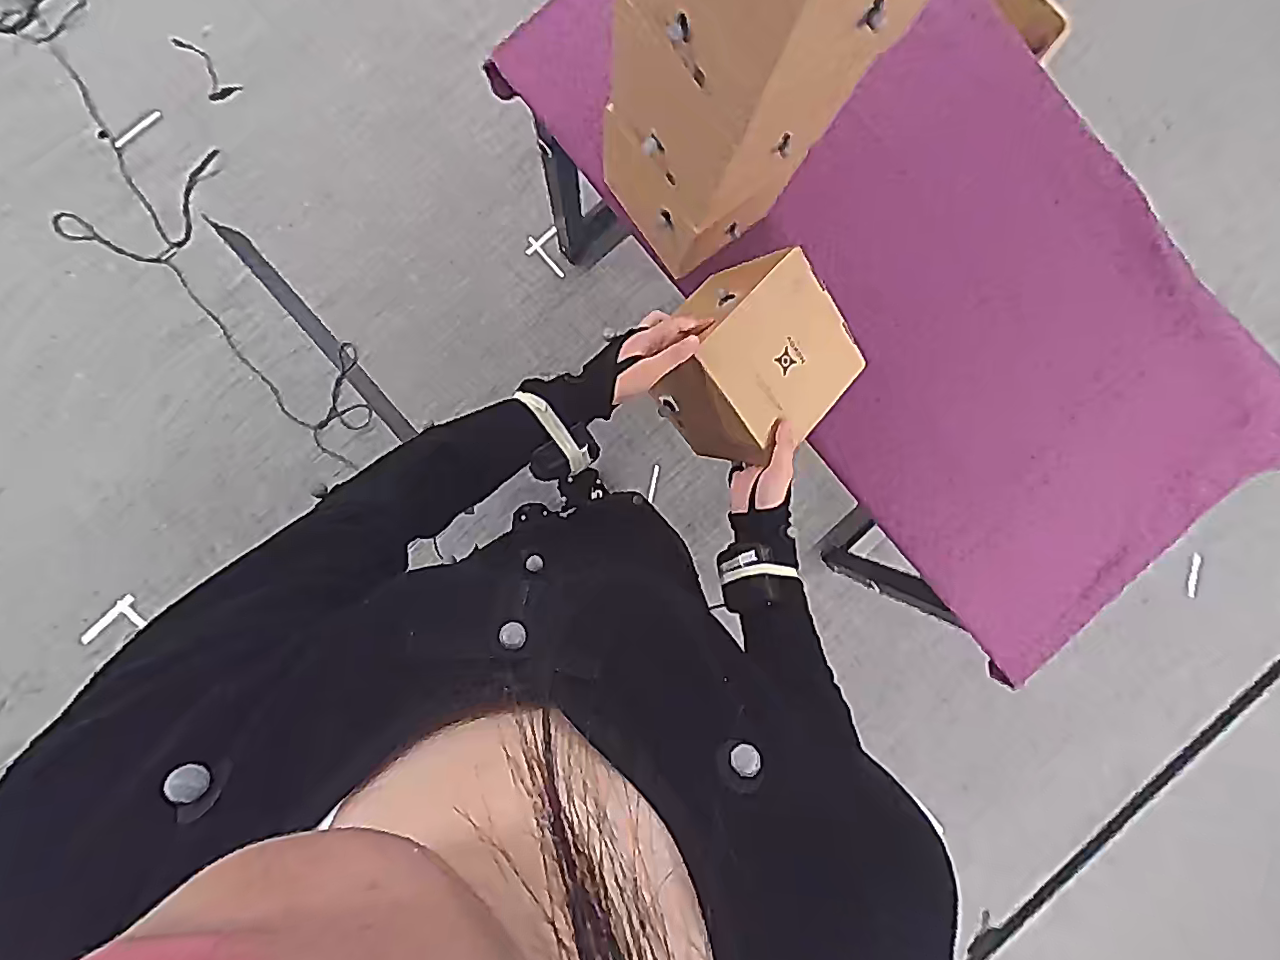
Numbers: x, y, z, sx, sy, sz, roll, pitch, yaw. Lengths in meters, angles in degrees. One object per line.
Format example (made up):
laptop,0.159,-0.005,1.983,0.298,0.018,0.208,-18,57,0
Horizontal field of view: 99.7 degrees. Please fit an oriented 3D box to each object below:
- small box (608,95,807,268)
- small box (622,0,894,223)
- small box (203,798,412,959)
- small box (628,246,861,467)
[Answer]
small box,0.074,-0.398,0.690,0.168,0.176,0.179,-37,94,-2
small box,0.095,-0.395,0.527,0.179,0.176,0.168,-38,94,-1
small box,-0.488,0.643,0.825,0.179,0.176,0.168,-40,94,-1
small box,0.117,-0.140,0.643,0.179,0.176,0.168,-47,114,-13
